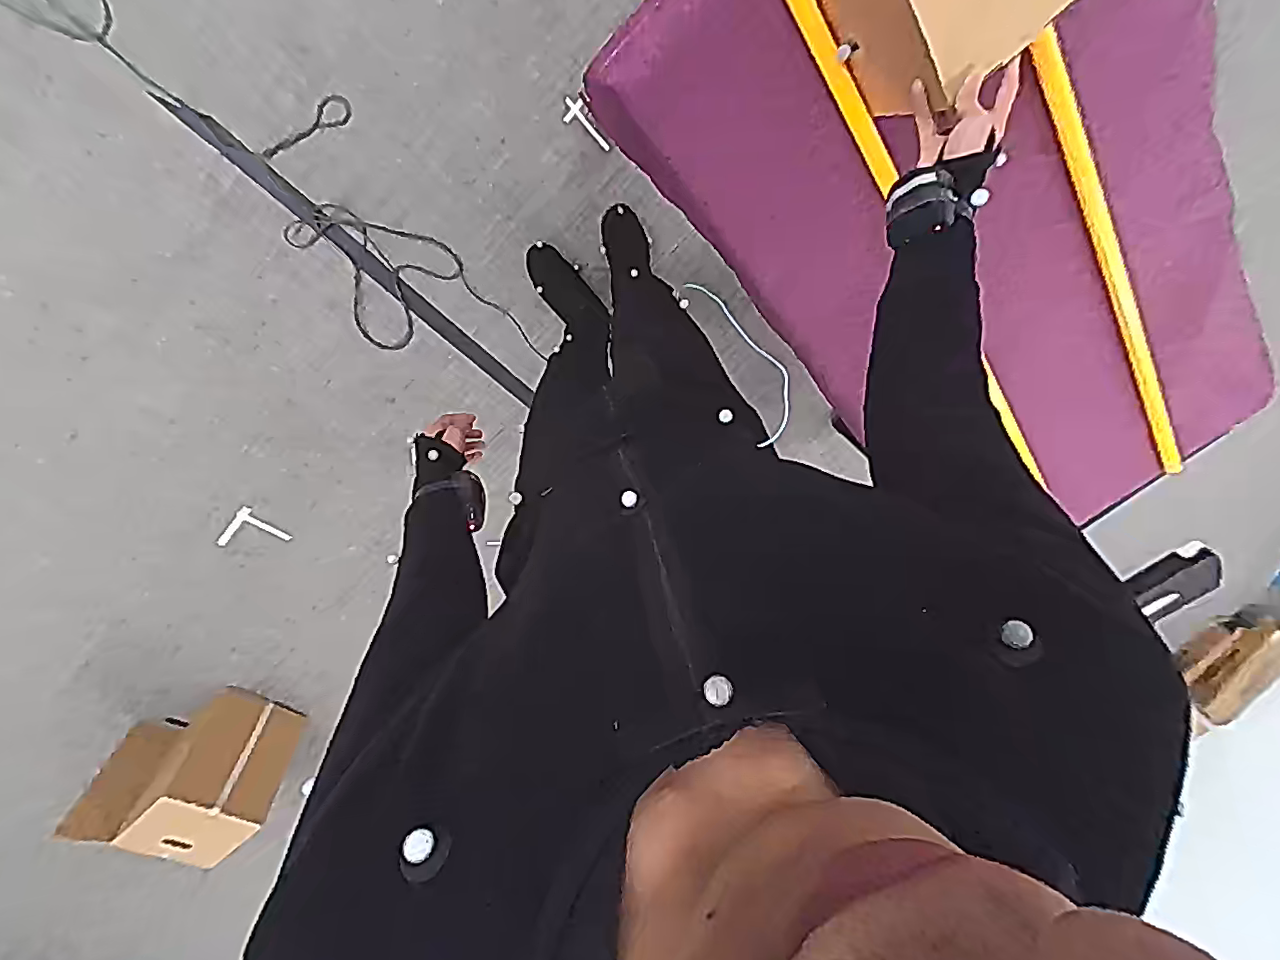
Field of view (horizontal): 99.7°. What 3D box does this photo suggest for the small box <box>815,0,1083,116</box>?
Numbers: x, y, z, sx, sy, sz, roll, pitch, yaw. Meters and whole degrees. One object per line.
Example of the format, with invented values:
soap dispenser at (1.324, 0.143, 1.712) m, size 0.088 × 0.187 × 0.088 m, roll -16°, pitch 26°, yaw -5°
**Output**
small box at (0.306, -0.513, 0.553) m, size 0.168 × 0.176 × 0.179 m, roll -39°, pitch 121°, yaw 14°
